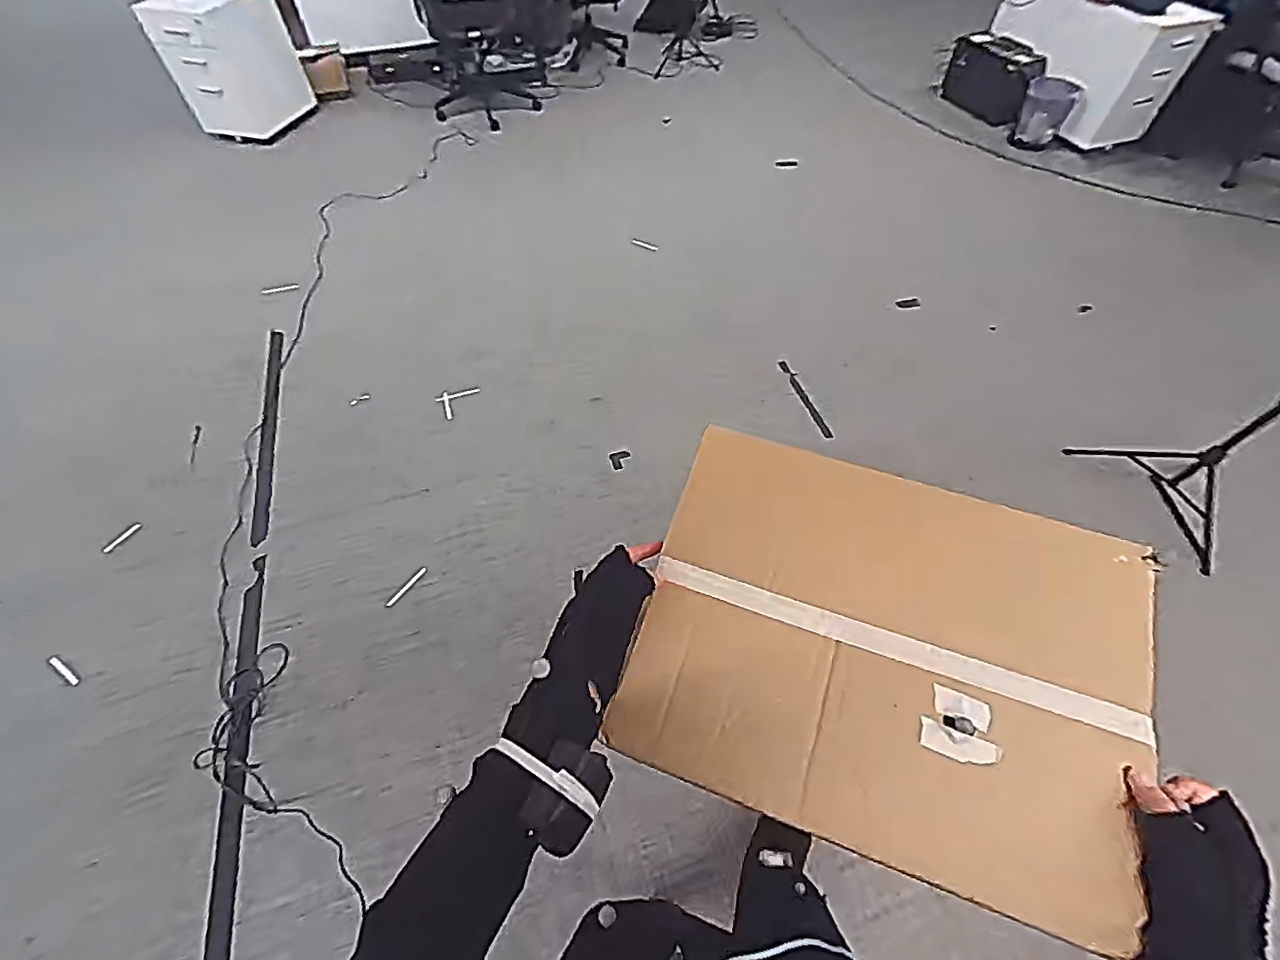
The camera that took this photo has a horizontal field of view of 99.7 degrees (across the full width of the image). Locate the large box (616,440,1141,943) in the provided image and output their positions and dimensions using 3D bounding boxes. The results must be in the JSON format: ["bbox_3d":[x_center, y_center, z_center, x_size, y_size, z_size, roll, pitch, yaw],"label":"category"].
[{"bbox_3d":[0.221,0.203,0.609,0.408,0.320,0.320,18,70,11],"label":"large box"}]
